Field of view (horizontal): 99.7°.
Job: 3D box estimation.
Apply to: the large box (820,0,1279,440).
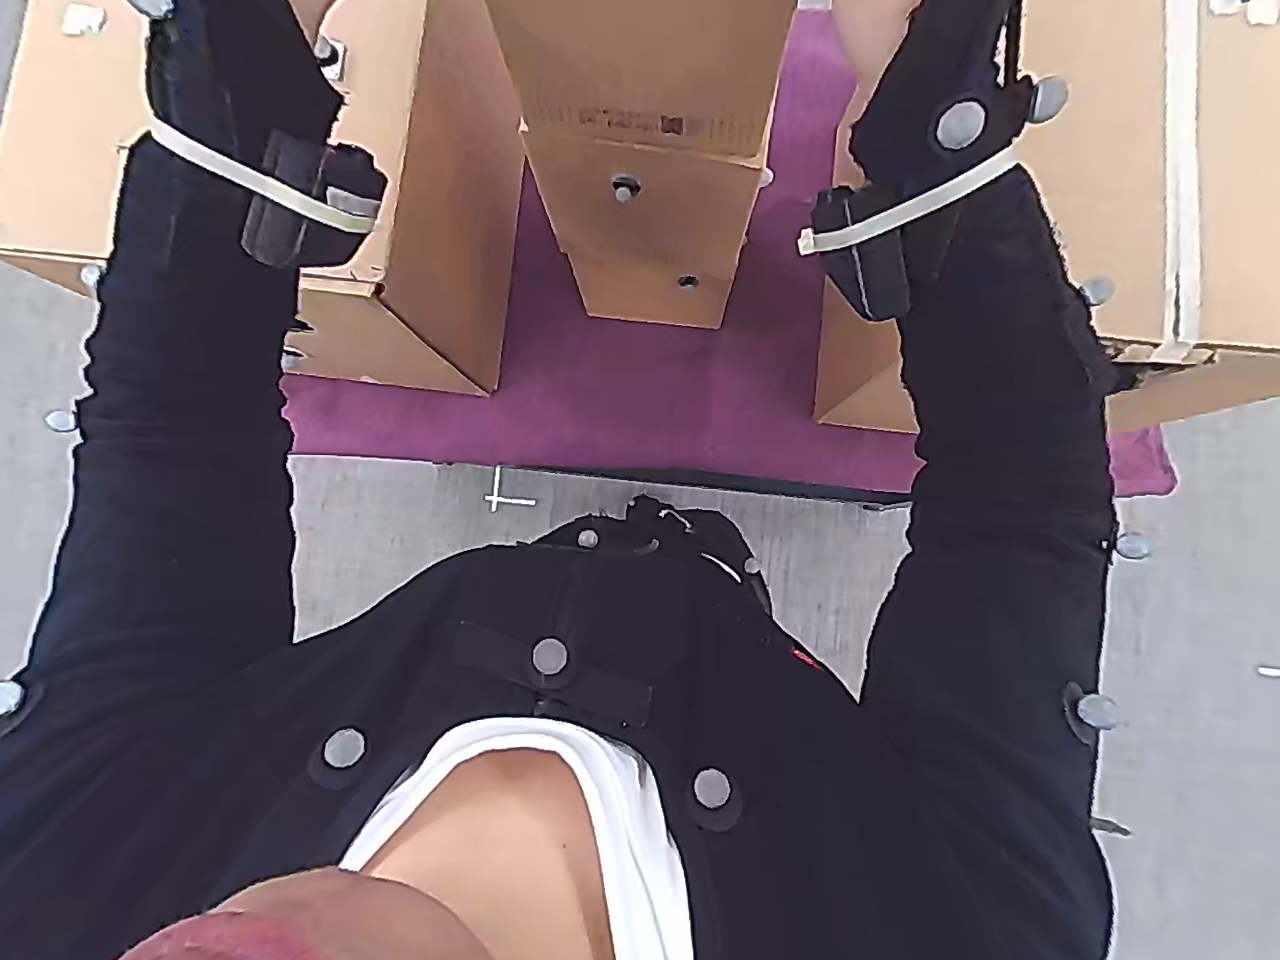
[{"bbox_3d":[0.379,-0.270,0.537,0.320,0.320,0.408,5,83,2],"label":"large box"}]
